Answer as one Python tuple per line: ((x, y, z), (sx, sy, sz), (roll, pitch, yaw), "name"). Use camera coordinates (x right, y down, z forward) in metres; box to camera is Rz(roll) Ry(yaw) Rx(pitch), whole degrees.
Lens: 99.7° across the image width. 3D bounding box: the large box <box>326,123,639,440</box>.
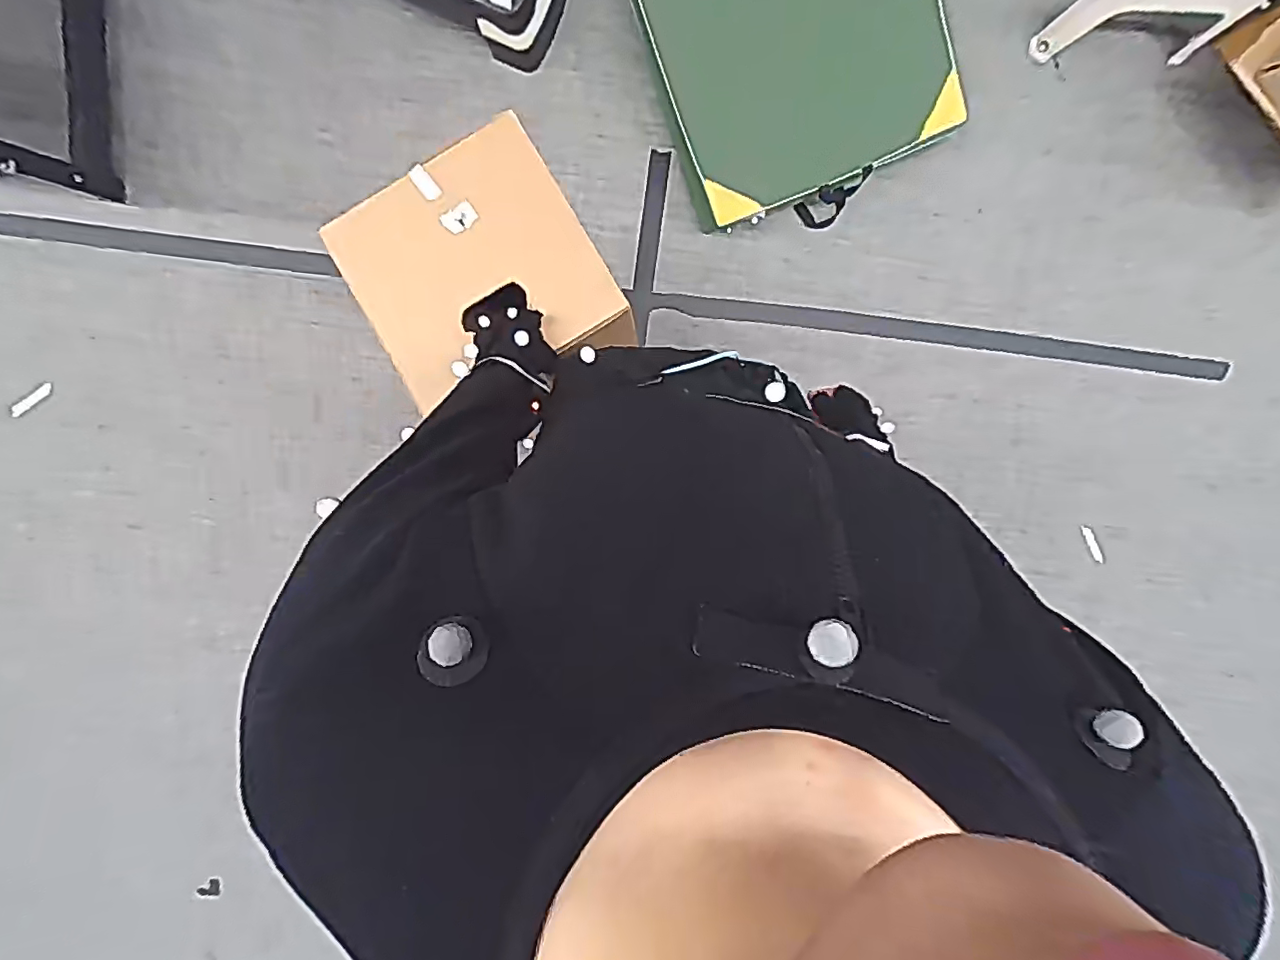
((-0.222, -0.286, 0.925), (0.320, 0.408, 0.320), (-30, 89, 3), "large box")
